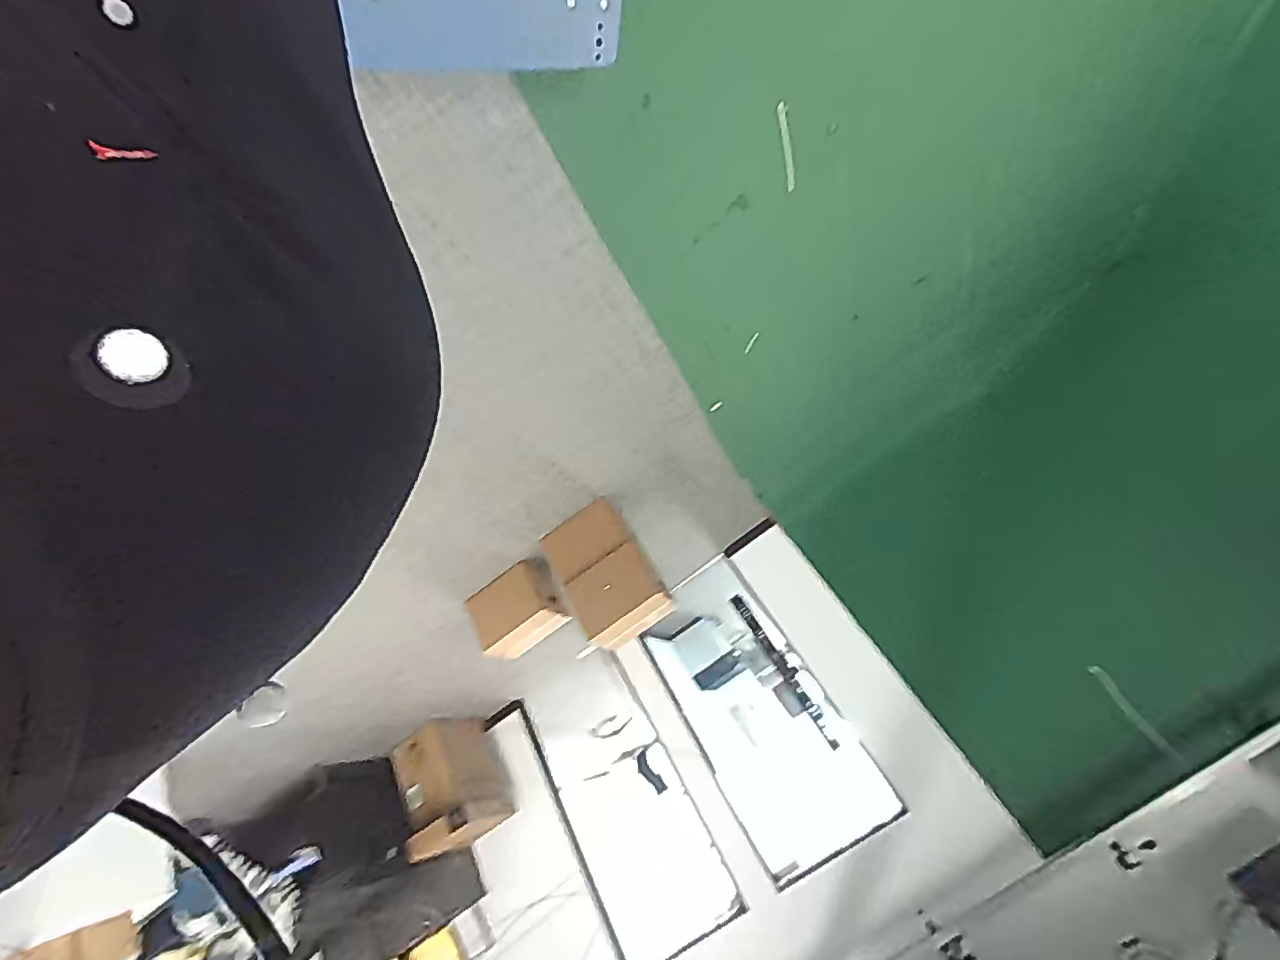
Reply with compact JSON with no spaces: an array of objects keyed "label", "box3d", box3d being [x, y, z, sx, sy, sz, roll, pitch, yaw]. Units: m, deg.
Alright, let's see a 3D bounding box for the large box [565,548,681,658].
[{"label":"large box","box3d":[-0.083,0.602,2.622,0.408,0.320,0.320,-37,147,3]}]
